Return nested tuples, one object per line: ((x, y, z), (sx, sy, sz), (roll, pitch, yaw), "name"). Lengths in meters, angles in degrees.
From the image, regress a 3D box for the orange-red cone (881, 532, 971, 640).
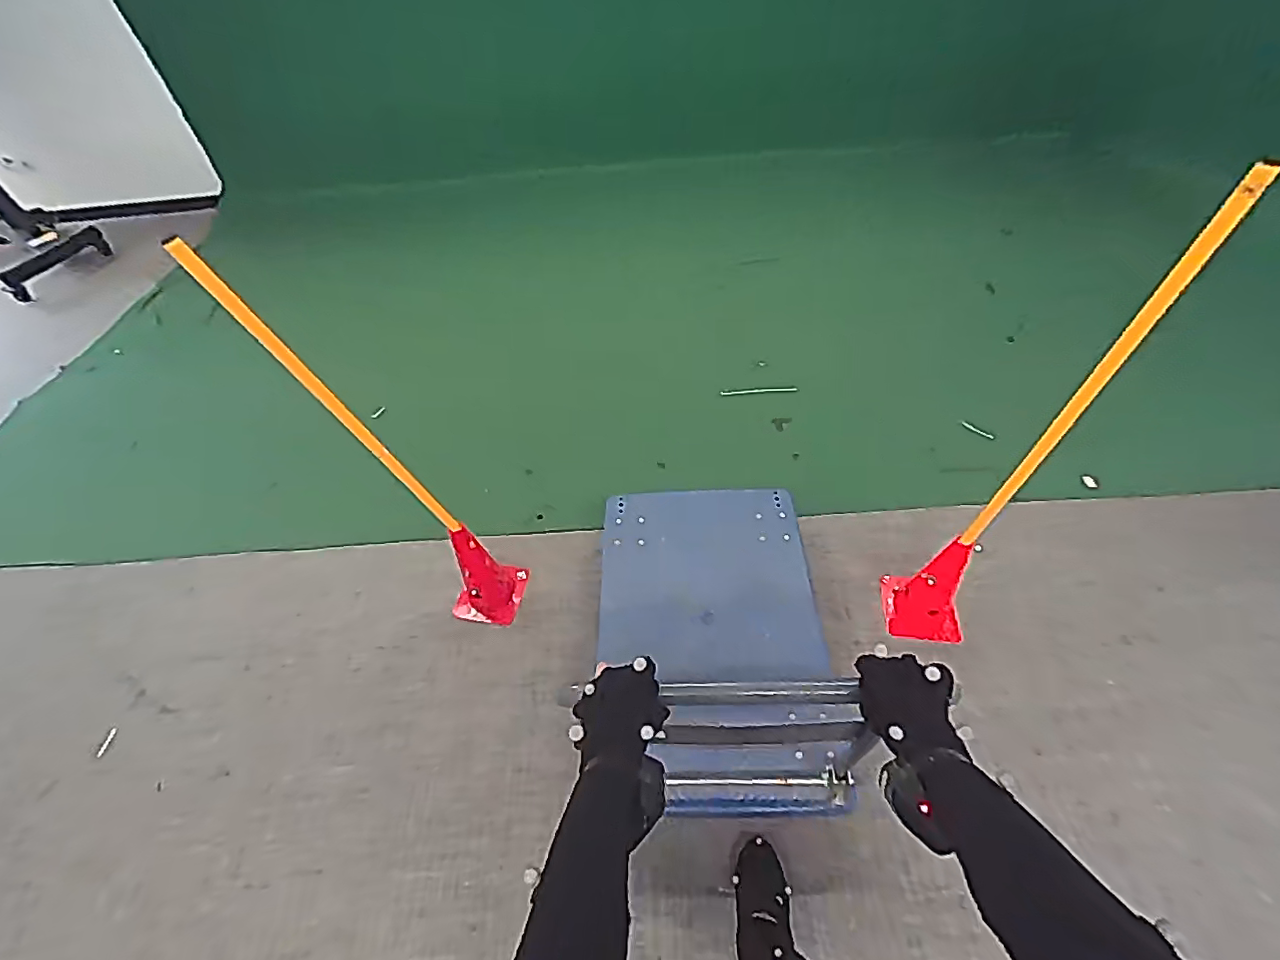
((0.804, 0.257, 1.450), (0.198, 0.360, 0.199), (4, 51, 9), "orange-red cone")
